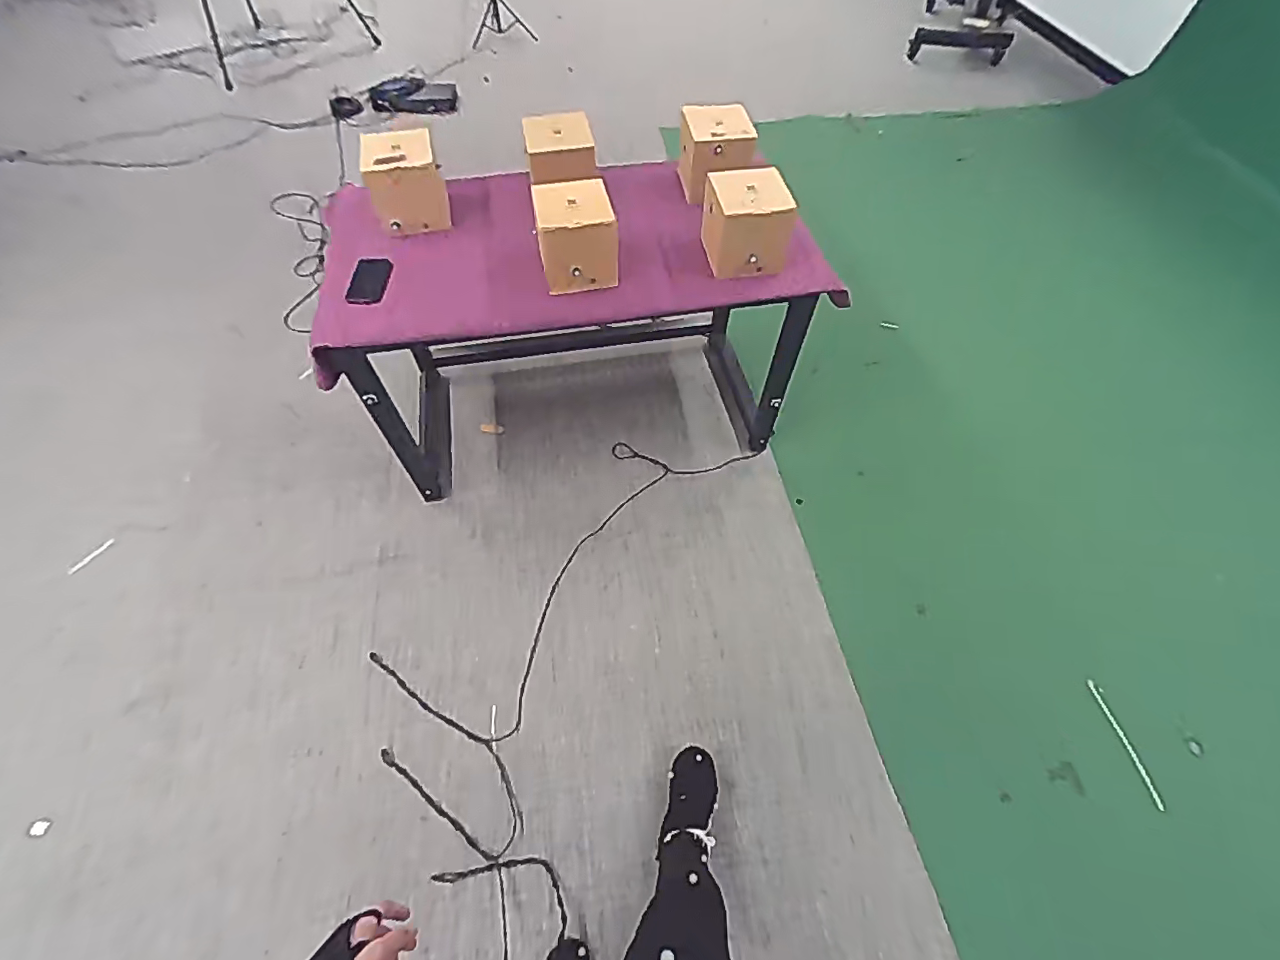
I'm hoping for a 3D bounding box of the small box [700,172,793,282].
[{"bbox_3d":[0.242,-0.596,1.281,0.168,0.176,0.179,-7,58,-4],"label":"small box"}]

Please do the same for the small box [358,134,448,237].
[{"bbox_3d":[-0.589,-0.732,1.359,0.168,0.176,0.179,-12,57,-9],"label":"small box"}]

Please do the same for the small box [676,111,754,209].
[{"bbox_3d":[0.193,-0.859,1.453,0.168,0.176,0.179,-7,57,-4],"label":"small box"}]

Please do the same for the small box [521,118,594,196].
[{"bbox_3d":[-0.214,-0.814,1.420,0.168,0.176,0.179,-10,59,-6],"label":"small box"}]

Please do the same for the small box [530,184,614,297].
[{"bbox_3d":[-0.155,-0.551,1.251,0.168,0.176,0.179,-10,57,-8],"label":"small box"}]
